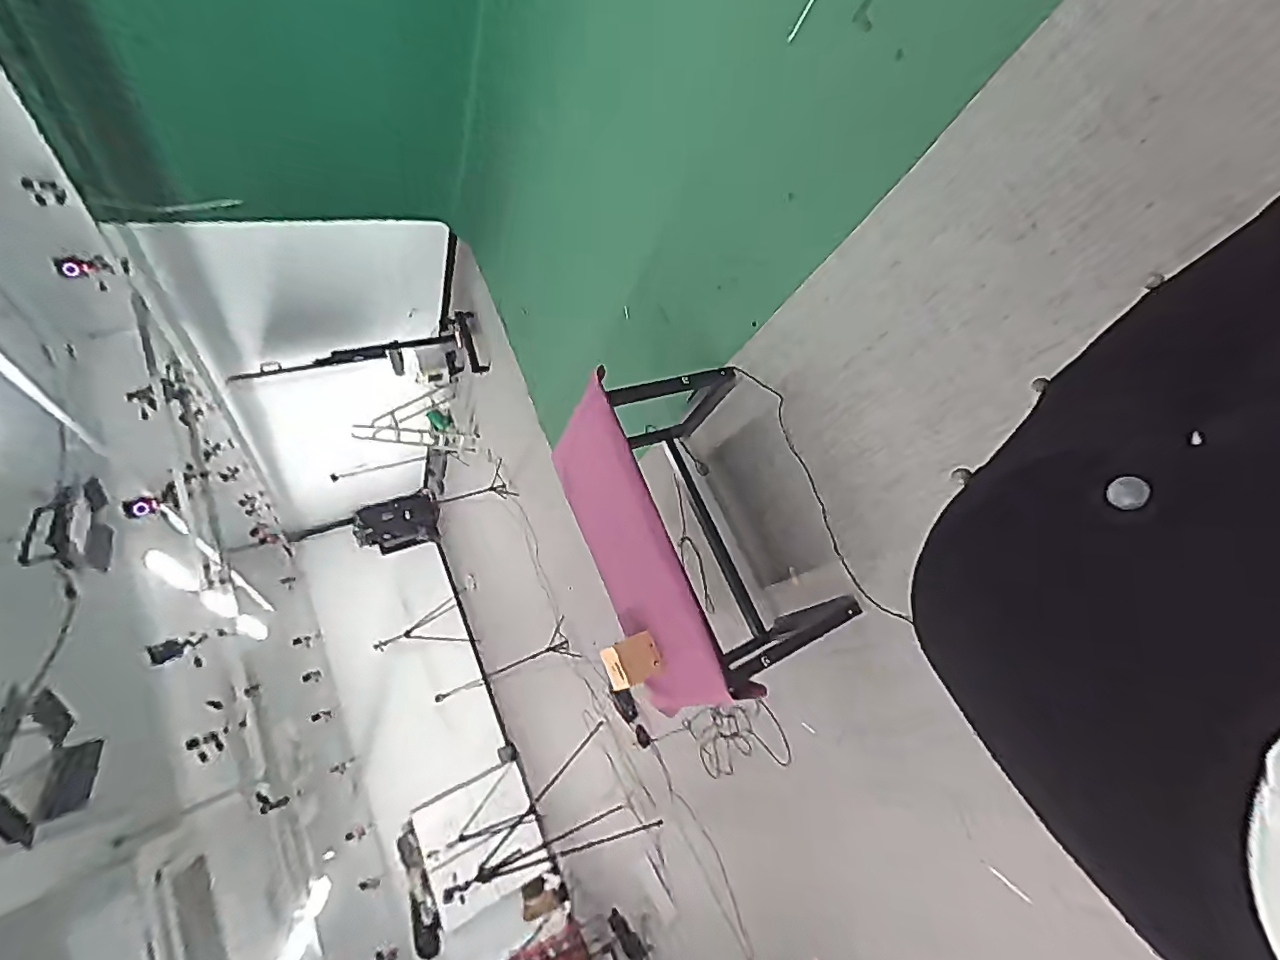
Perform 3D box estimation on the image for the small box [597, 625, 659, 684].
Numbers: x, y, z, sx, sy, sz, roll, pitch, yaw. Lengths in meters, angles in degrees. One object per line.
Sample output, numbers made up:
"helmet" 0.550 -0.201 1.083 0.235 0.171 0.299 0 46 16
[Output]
"small box" -0.043 0.693 2.148 0.168 0.176 0.179 66 150 14
